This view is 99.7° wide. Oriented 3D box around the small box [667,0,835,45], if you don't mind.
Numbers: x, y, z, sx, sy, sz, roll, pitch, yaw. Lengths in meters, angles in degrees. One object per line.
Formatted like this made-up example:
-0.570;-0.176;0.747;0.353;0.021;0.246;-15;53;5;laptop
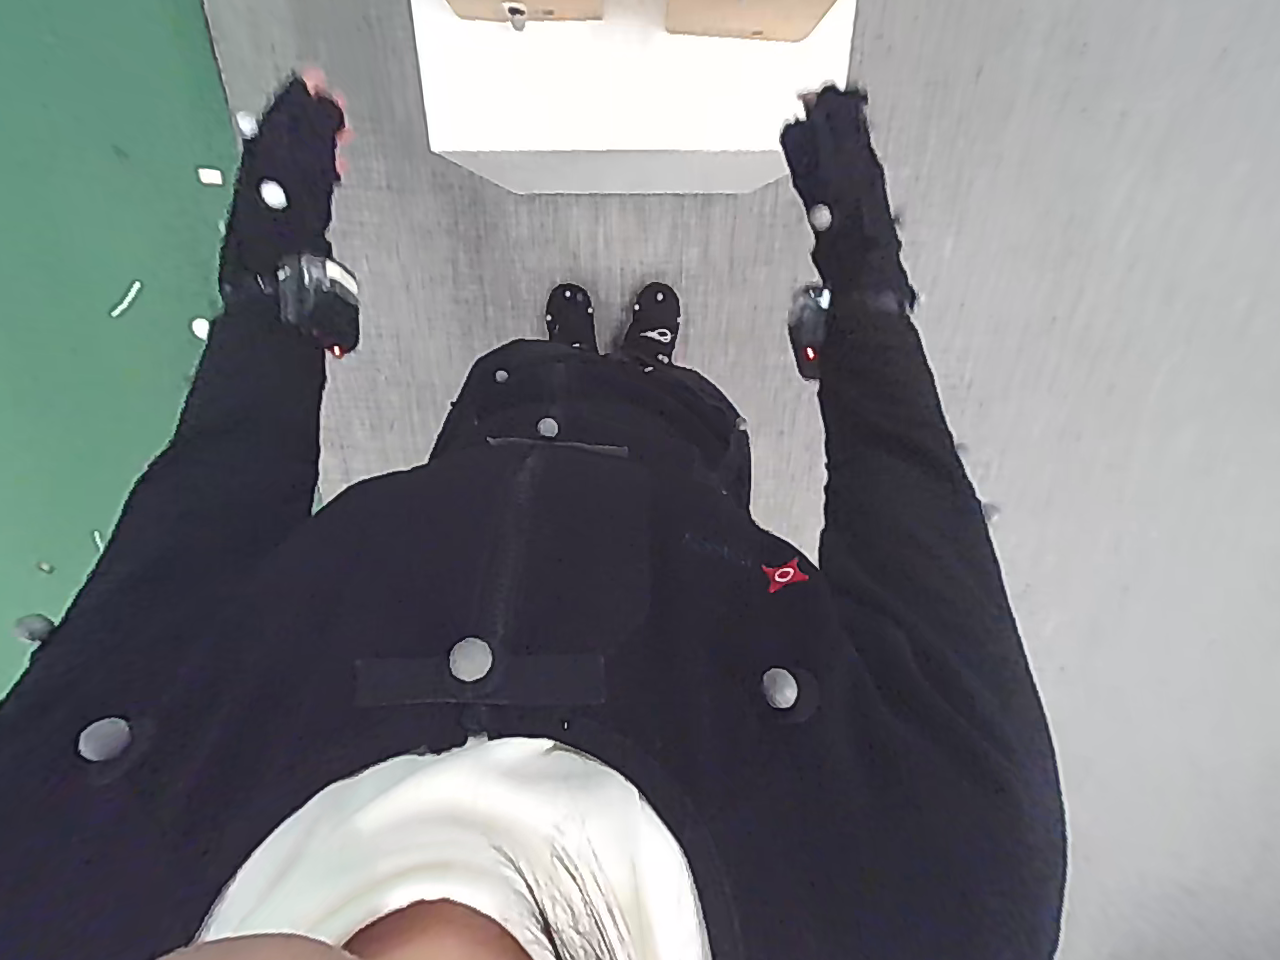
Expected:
0.116;-0.565;0.523;0.168;0.176;0.179;3;112;-2;small box

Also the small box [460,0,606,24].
-0.120;-0.578;0.518;0.168;0.176;0.179;-1;114;1;small box
